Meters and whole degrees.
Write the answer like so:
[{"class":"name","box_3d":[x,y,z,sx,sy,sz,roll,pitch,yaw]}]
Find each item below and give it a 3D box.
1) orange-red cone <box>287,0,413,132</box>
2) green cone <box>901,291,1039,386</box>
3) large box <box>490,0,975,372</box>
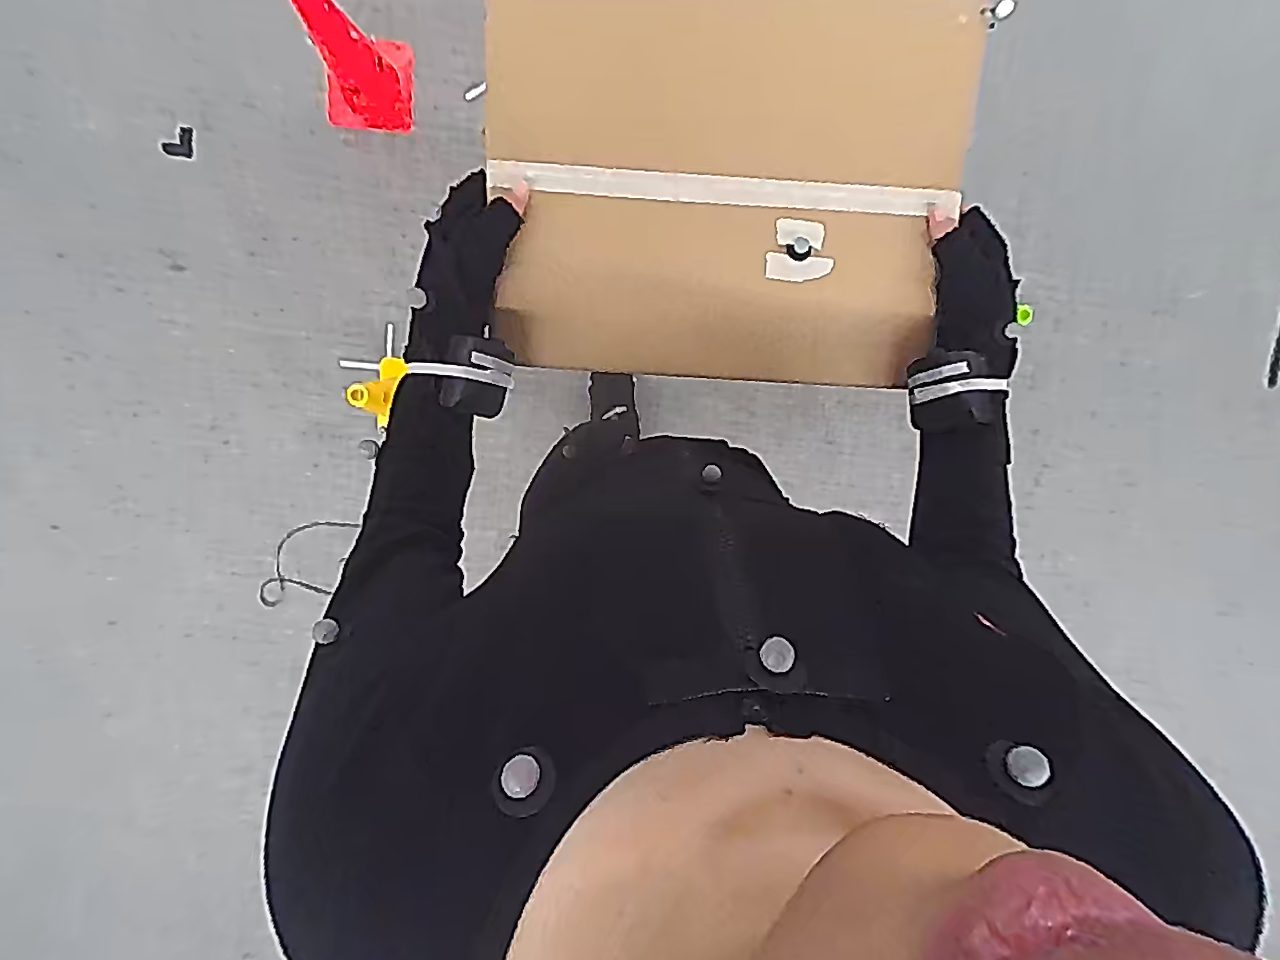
[{"class":"orange-red cone","box_3d":[-0.637,-0.922,1.128,0.198,0.360,0.199,4,98,-3]},{"class":"green cone","box_3d":[0.785,-0.361,1.292,0.202,0.368,0.200,-31,99,-1]},{"class":"large box","box_3d":[0.066,-0.290,0.612,0.408,0.320,0.320,3,103,-3]}]
